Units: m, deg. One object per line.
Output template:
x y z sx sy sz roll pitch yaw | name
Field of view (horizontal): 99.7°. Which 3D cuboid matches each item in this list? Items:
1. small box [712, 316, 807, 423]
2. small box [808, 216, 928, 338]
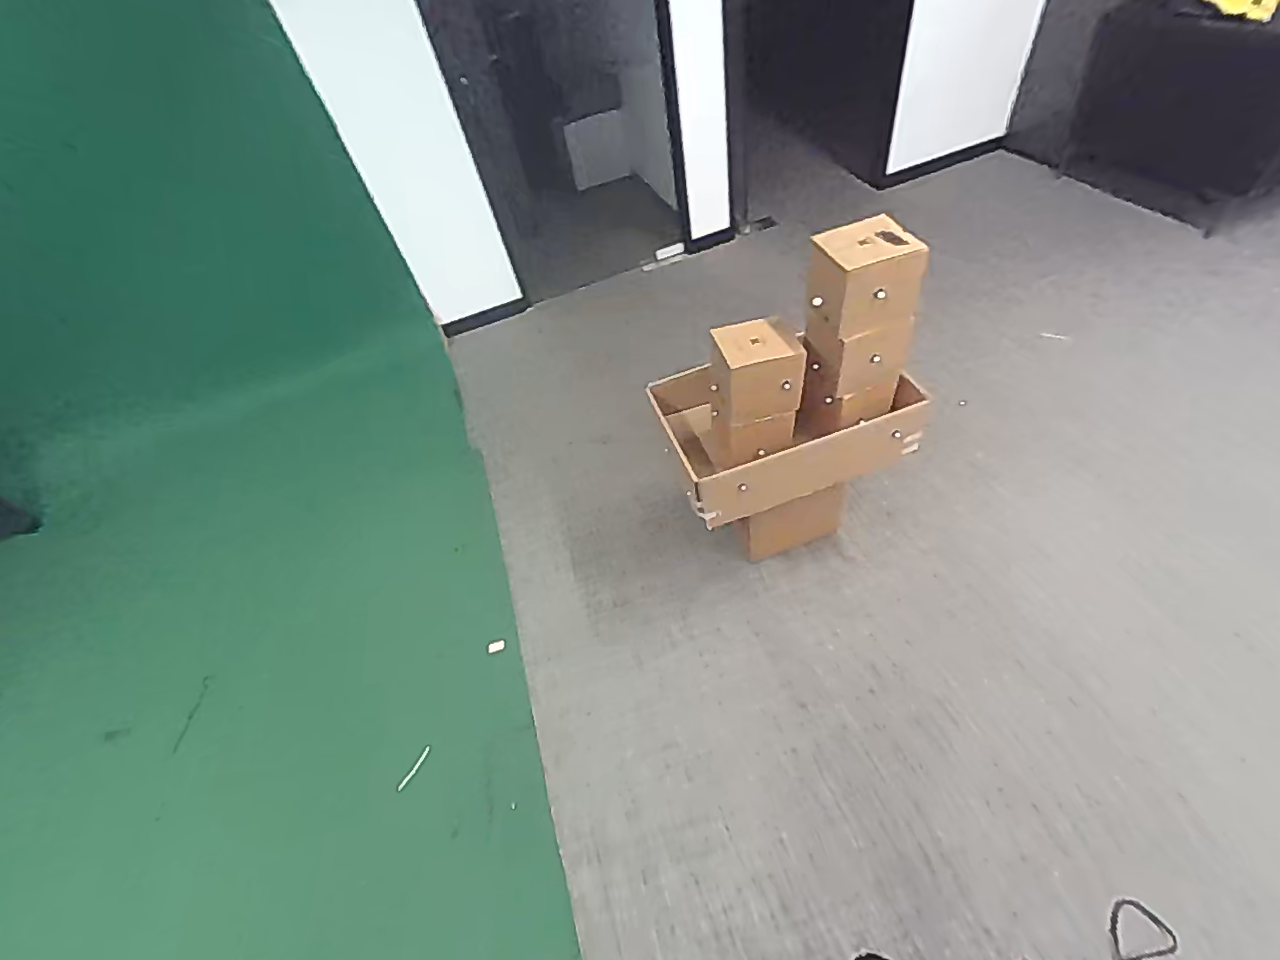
0.276 -0.262 1.291 0.179 0.176 0.168 -13 47 -2 | small box
0.483 -0.439 1.178 0.179 0.176 0.168 -17 49 -2 | small box
